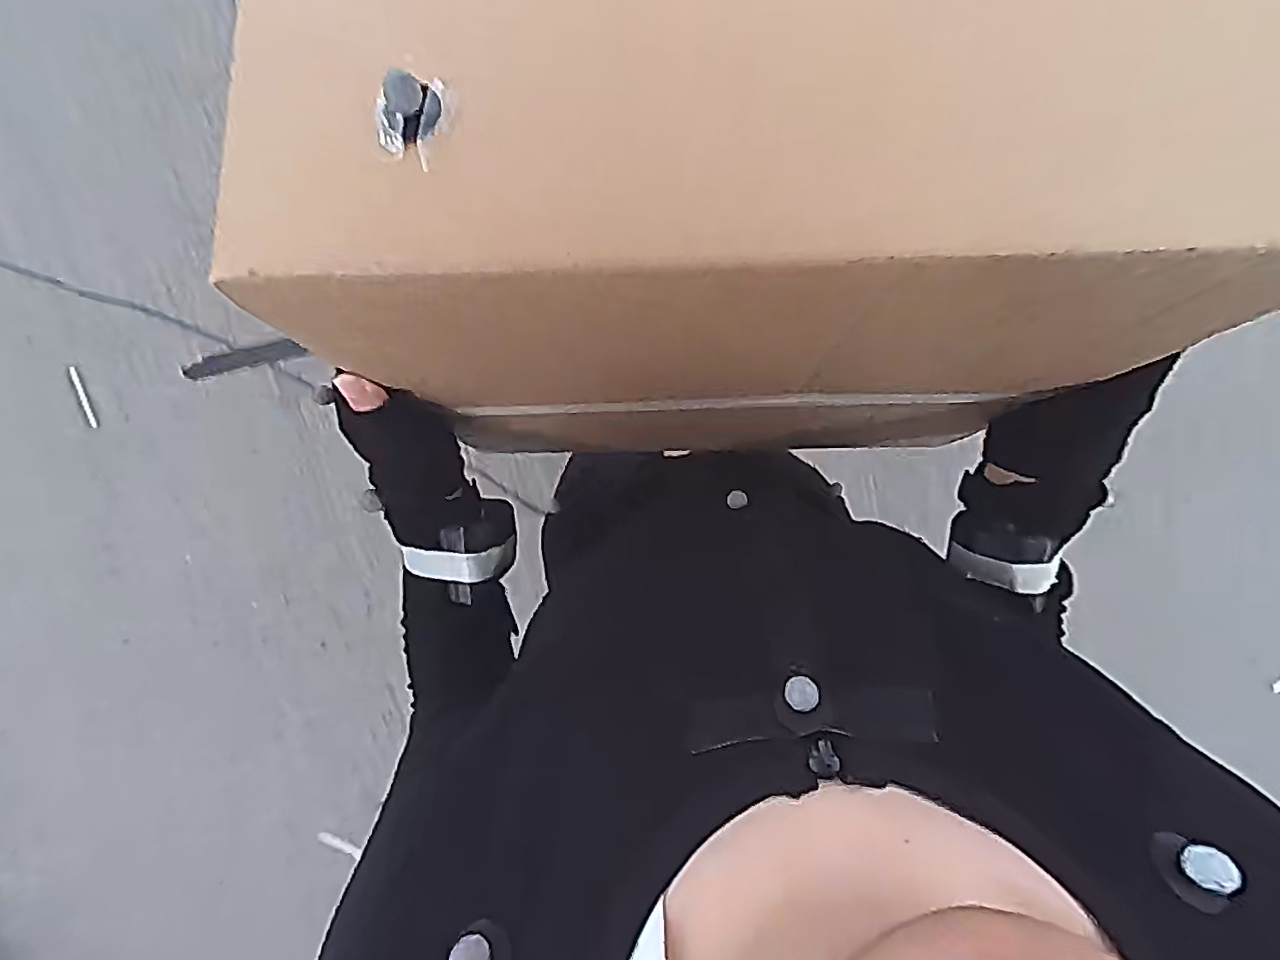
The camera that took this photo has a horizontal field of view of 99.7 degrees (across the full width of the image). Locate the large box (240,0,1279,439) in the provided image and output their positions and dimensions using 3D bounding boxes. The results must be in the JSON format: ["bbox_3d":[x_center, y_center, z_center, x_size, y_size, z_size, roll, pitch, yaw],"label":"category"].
[{"bbox_3d":[0.050,-0.214,0.360,0.408,0.320,0.320,-1,82,1],"label":"large box"}]
